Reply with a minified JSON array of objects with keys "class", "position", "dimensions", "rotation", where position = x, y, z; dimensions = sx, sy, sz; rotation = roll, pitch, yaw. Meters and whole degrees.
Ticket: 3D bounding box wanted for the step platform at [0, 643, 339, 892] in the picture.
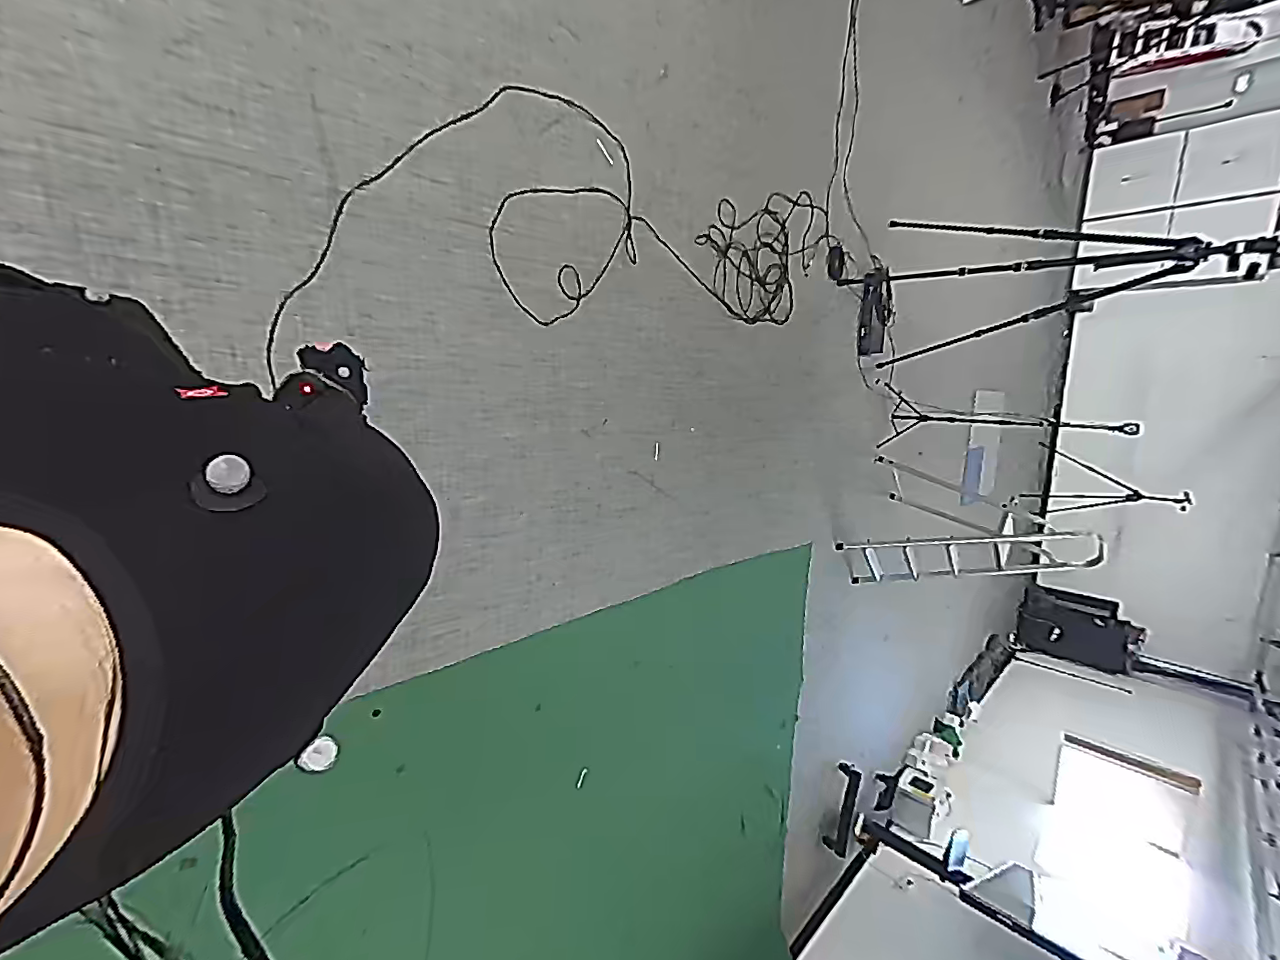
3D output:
[{"class":"step platform","position":[-0.926,0.528,0.934],"dimensions":[0.684,0.204,0.286],"rotation":[-9,104,-45]}]
